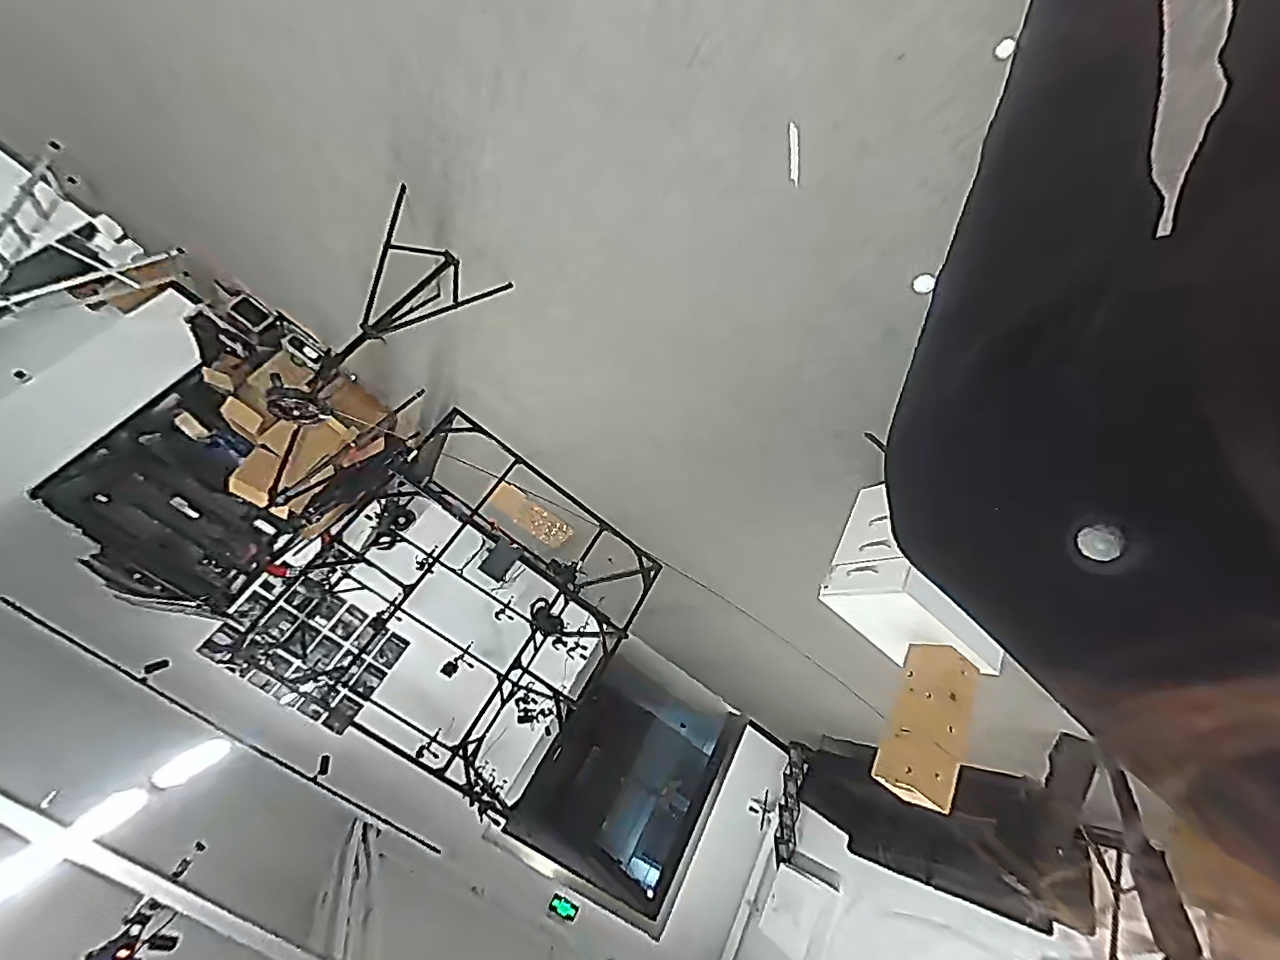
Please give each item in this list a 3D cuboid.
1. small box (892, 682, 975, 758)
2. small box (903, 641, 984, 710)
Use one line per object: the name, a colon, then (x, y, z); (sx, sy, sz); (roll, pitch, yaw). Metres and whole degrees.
small box: (1.012, 0.820, 1.863); (0.179, 0.176, 0.168); (39, 155, -12)
small box: (1.090, 0.696, 1.939); (0.168, 0.176, 0.179); (39, 154, -11)
